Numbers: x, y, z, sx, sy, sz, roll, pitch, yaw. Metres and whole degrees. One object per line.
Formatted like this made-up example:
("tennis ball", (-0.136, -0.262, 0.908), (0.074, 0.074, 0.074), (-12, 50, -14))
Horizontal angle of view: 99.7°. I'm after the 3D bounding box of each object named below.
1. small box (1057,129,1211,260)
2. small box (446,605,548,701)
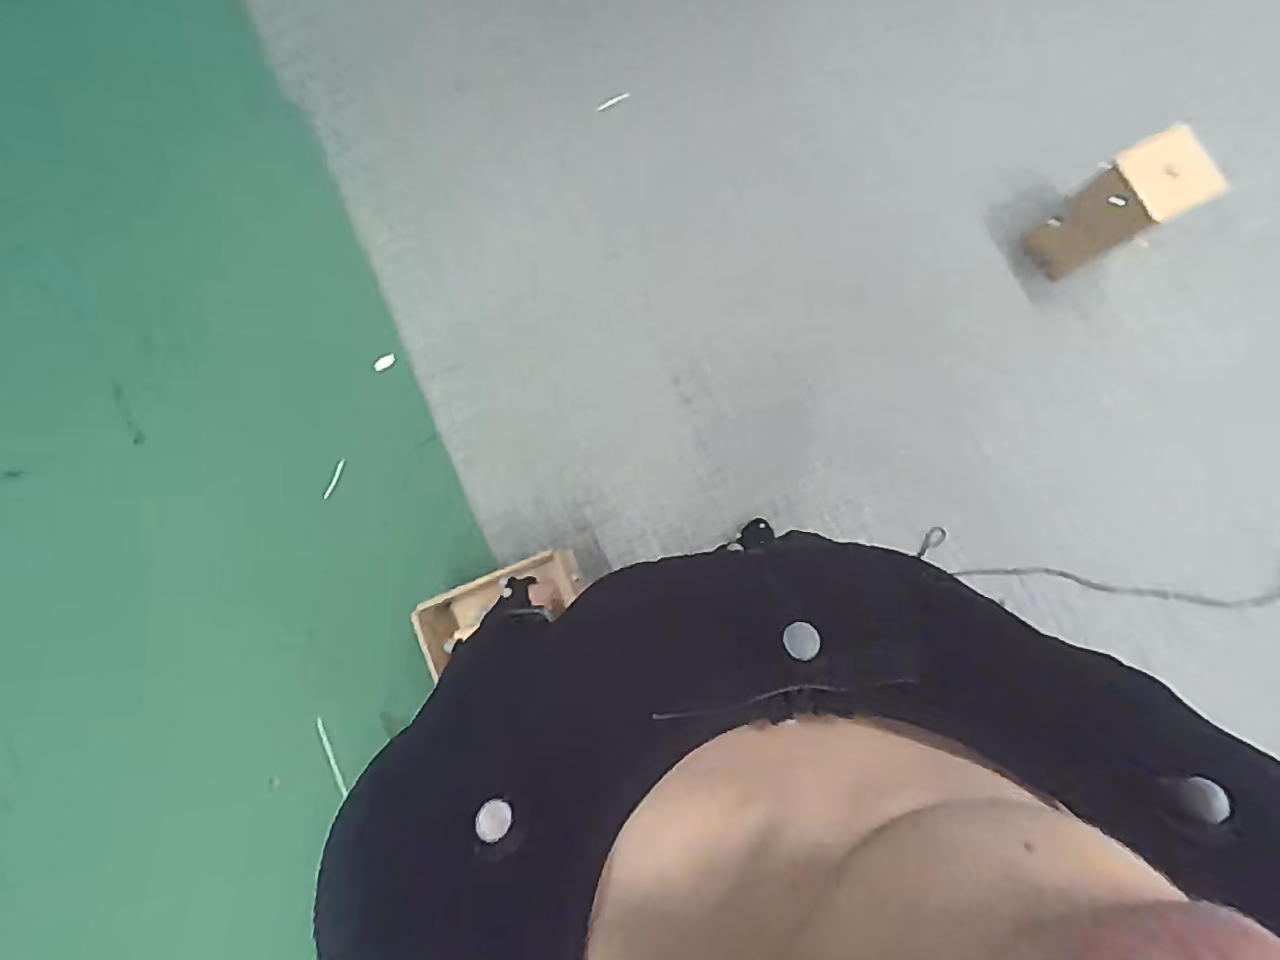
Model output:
("small box", (1.135, -0.656, 1.261), (0.168, 0.176, 0.179), (-28, 85, 2))
("small box", (-0.352, 0.425, 1.354), (0.179, 0.176, 0.168), (-20, 84, 1))
